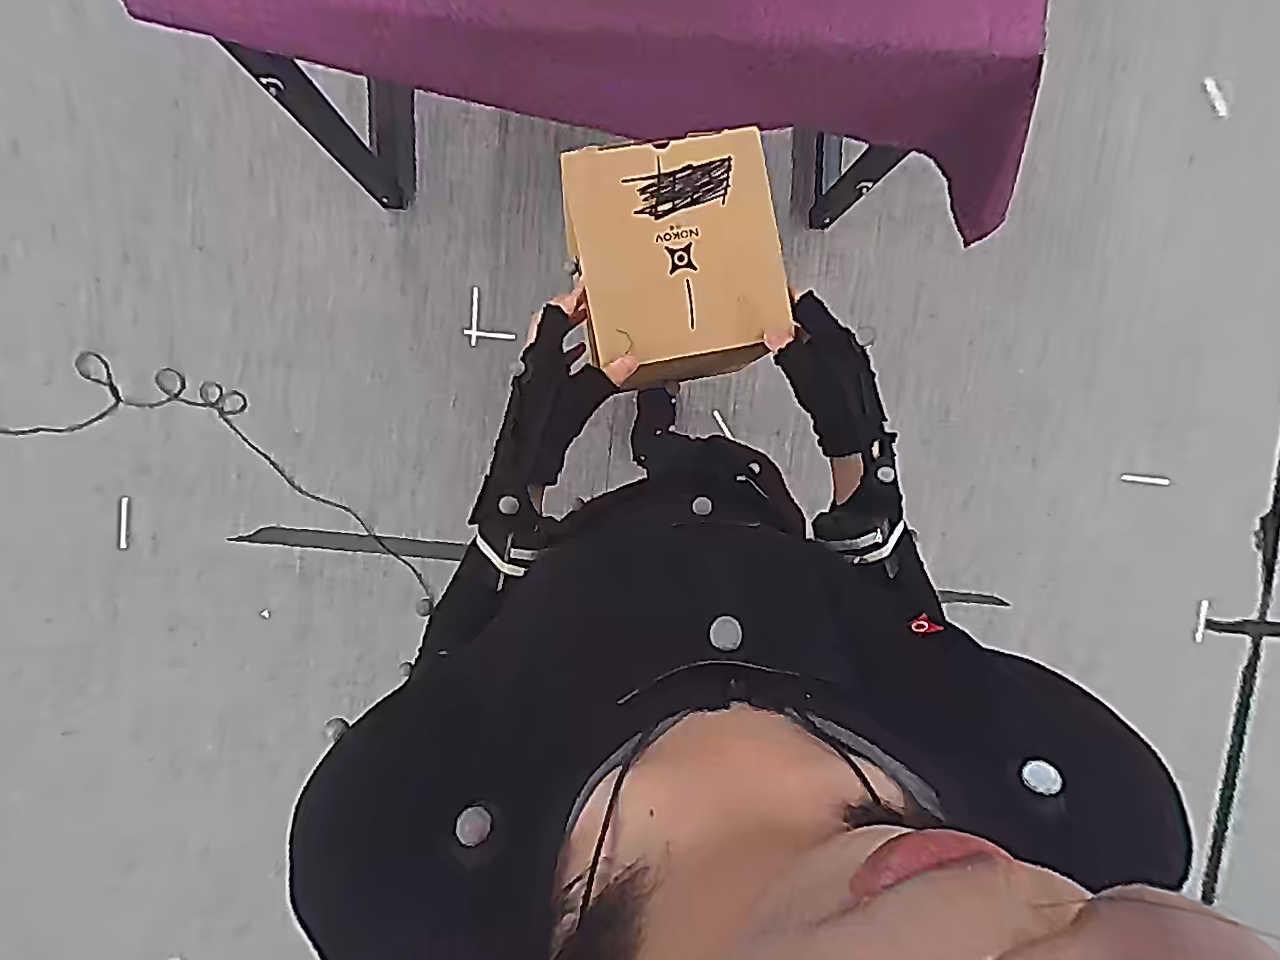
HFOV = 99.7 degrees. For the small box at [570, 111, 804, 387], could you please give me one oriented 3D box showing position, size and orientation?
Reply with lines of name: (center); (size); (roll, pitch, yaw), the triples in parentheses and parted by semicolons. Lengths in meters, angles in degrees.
small box: (0.030, -0.196, 0.504); (0.168, 0.176, 0.179); (-11, 92, -5)
